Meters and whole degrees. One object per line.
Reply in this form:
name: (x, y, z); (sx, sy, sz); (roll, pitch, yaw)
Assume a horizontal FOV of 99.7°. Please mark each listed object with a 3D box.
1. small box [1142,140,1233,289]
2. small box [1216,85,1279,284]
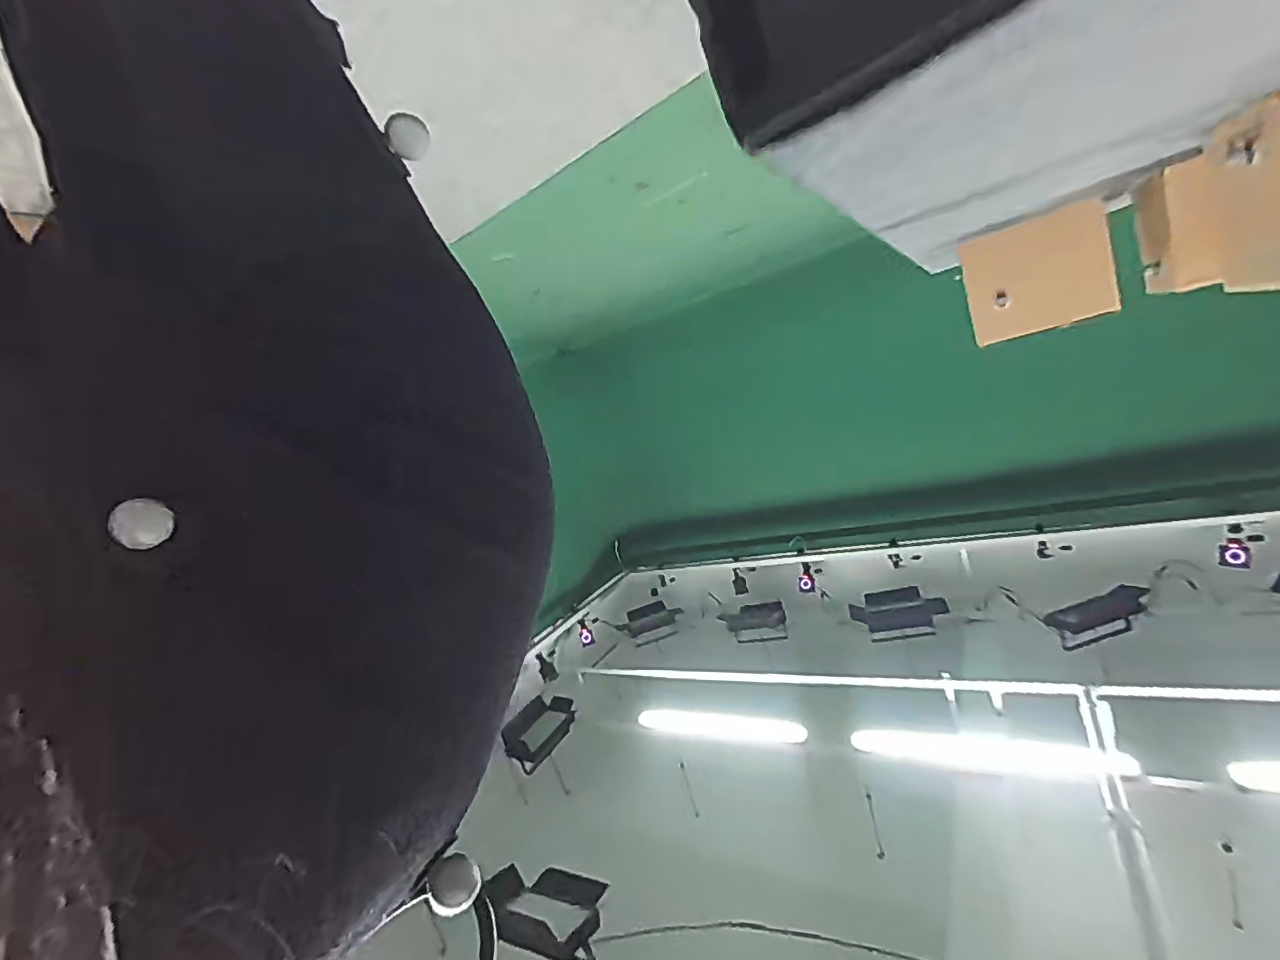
small box: (0.812, -0.371, 0.730); (0.168, 0.176, 0.179); (-12, -172, 35)
small box: (0.652, -0.284, 0.460); (0.179, 0.176, 0.168); (-12, -171, 32)
